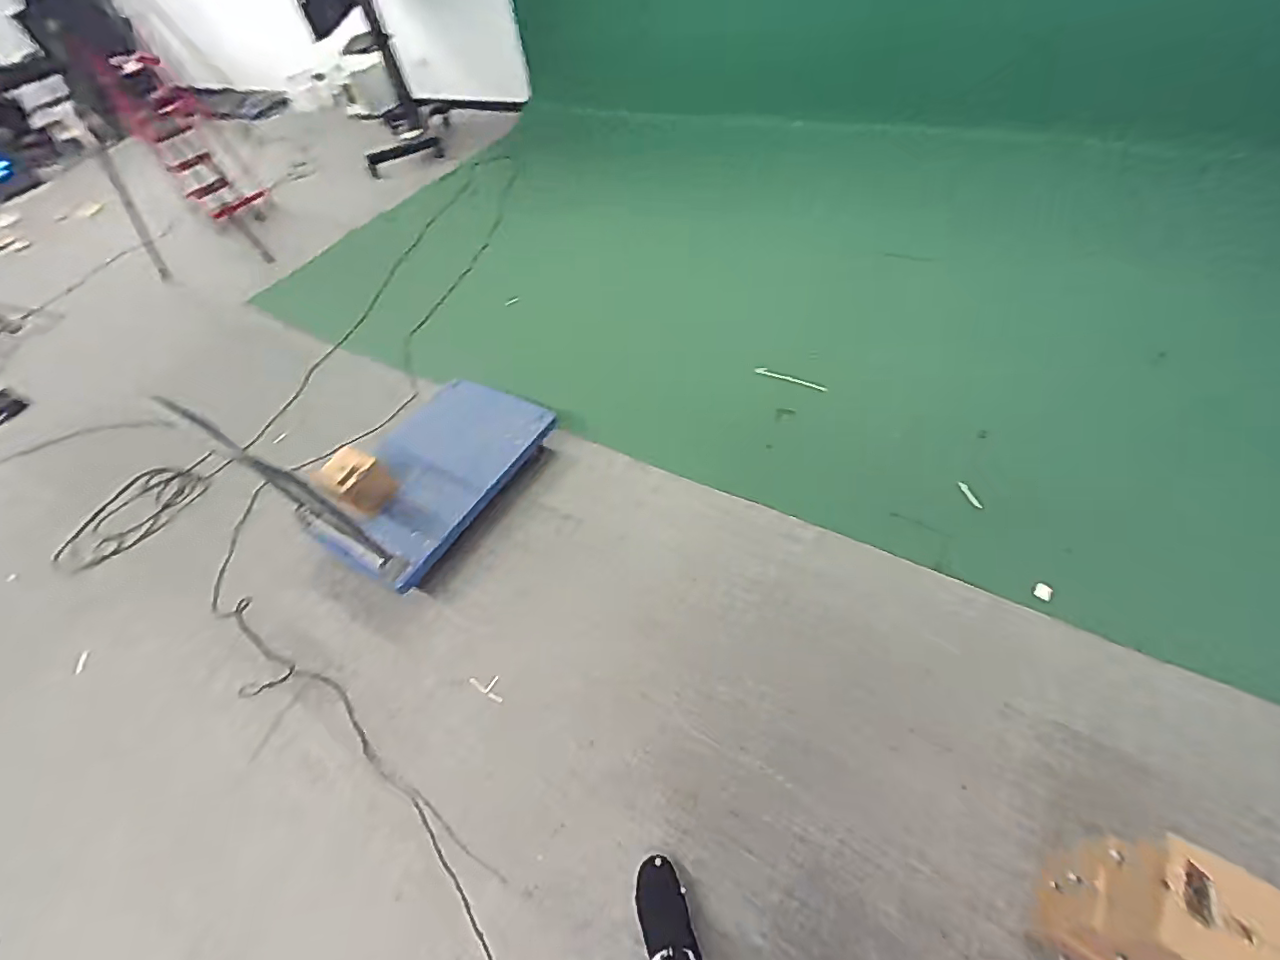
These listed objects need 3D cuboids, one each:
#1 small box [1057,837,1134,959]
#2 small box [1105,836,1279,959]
[{"bbox_3d":[0.900,0.793,0.977,0.179,0.176,0.168,26,61,29],"label":"small box"},{"bbox_3d":[0.876,0.701,0.842,0.179,0.176,0.168,26,60,27],"label":"small box"}]
